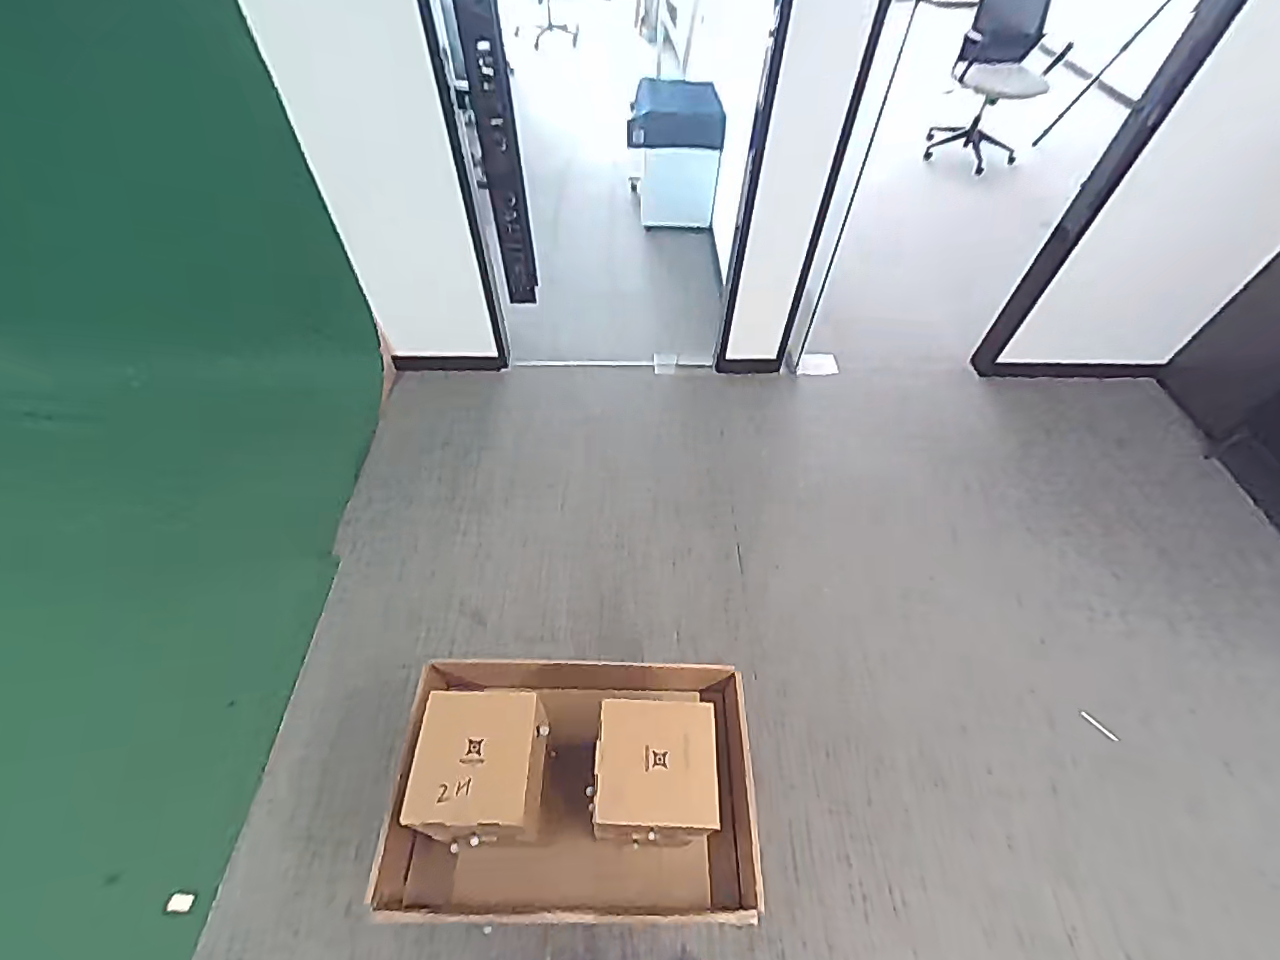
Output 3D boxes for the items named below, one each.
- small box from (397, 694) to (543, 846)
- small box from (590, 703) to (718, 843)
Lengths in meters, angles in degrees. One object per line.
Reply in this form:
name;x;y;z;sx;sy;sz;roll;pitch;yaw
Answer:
small box;-0.243;0.445;0.827;0.168;0.176;0.179;2;52;-2
small box;0.018;0.457;0.838;0.179;0.176;0.168;4;53;-2
